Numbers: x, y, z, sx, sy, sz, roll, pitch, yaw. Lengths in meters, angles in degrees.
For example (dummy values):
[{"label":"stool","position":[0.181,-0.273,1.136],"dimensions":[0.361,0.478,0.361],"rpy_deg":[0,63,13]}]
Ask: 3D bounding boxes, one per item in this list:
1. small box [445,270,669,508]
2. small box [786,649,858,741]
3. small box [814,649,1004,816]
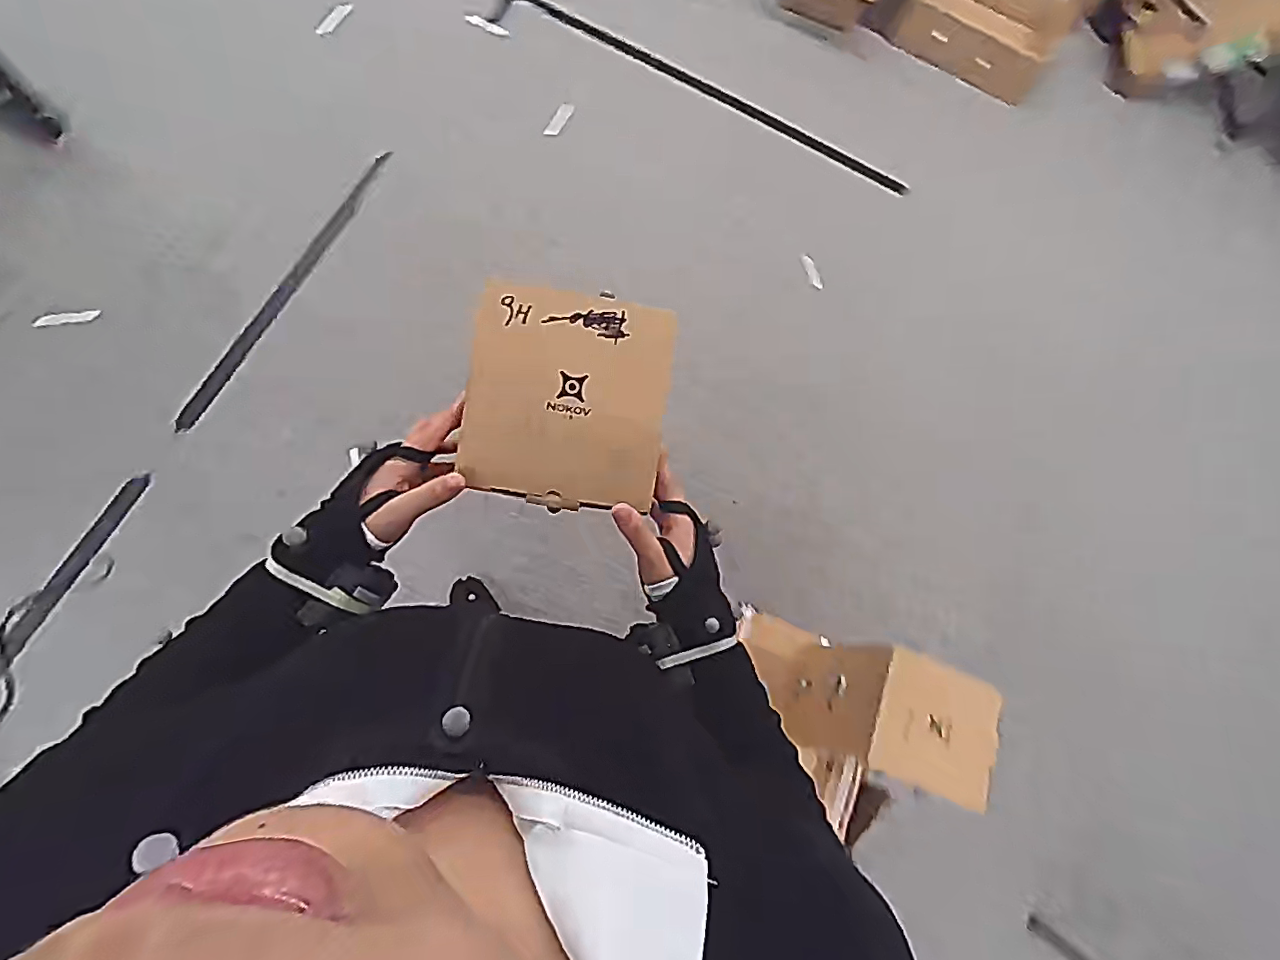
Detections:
[{"label":"small box","position":[-0.075,-0.076,0.525],"dimensions":[0.168,0.176,0.179],"rpy_deg":[8,91,-7]},{"label":"small box","position":[0.393,0.410,0.971],"dimensions":[0.179,0.176,0.168],"rpy_deg":[24,72,0]},{"label":"small box","position":[0.394,0.363,0.813],"dimensions":[0.179,0.176,0.168],"rpy_deg":[24,71,0]}]
